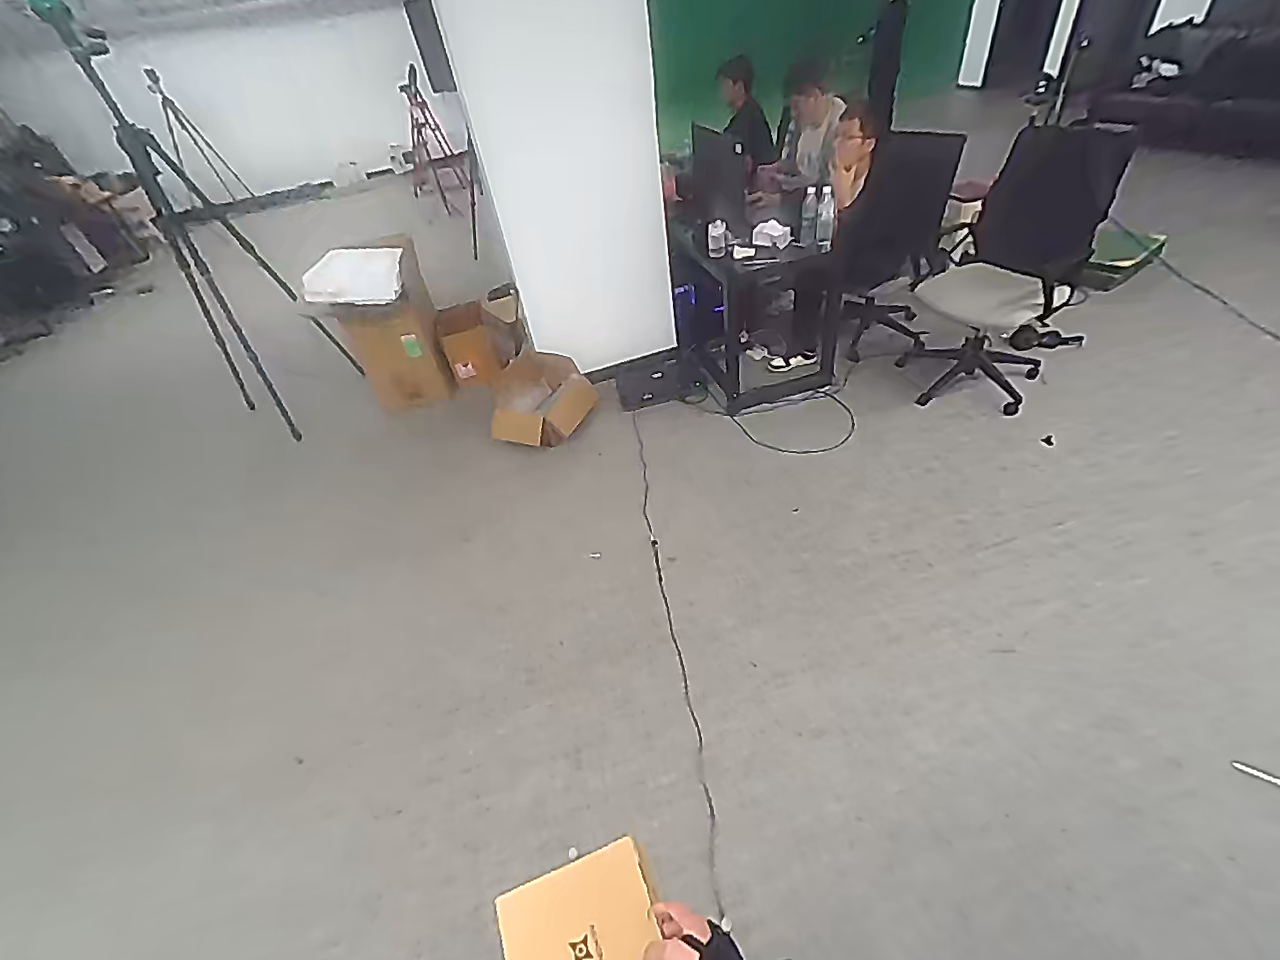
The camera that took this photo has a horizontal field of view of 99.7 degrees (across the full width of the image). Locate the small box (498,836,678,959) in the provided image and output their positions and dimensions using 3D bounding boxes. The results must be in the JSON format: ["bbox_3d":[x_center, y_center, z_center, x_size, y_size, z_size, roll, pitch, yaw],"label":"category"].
[{"bbox_3d":[-0.055,0.573,0.666,0.179,0.176,0.168,-19,53,-11],"label":"small box"}]
